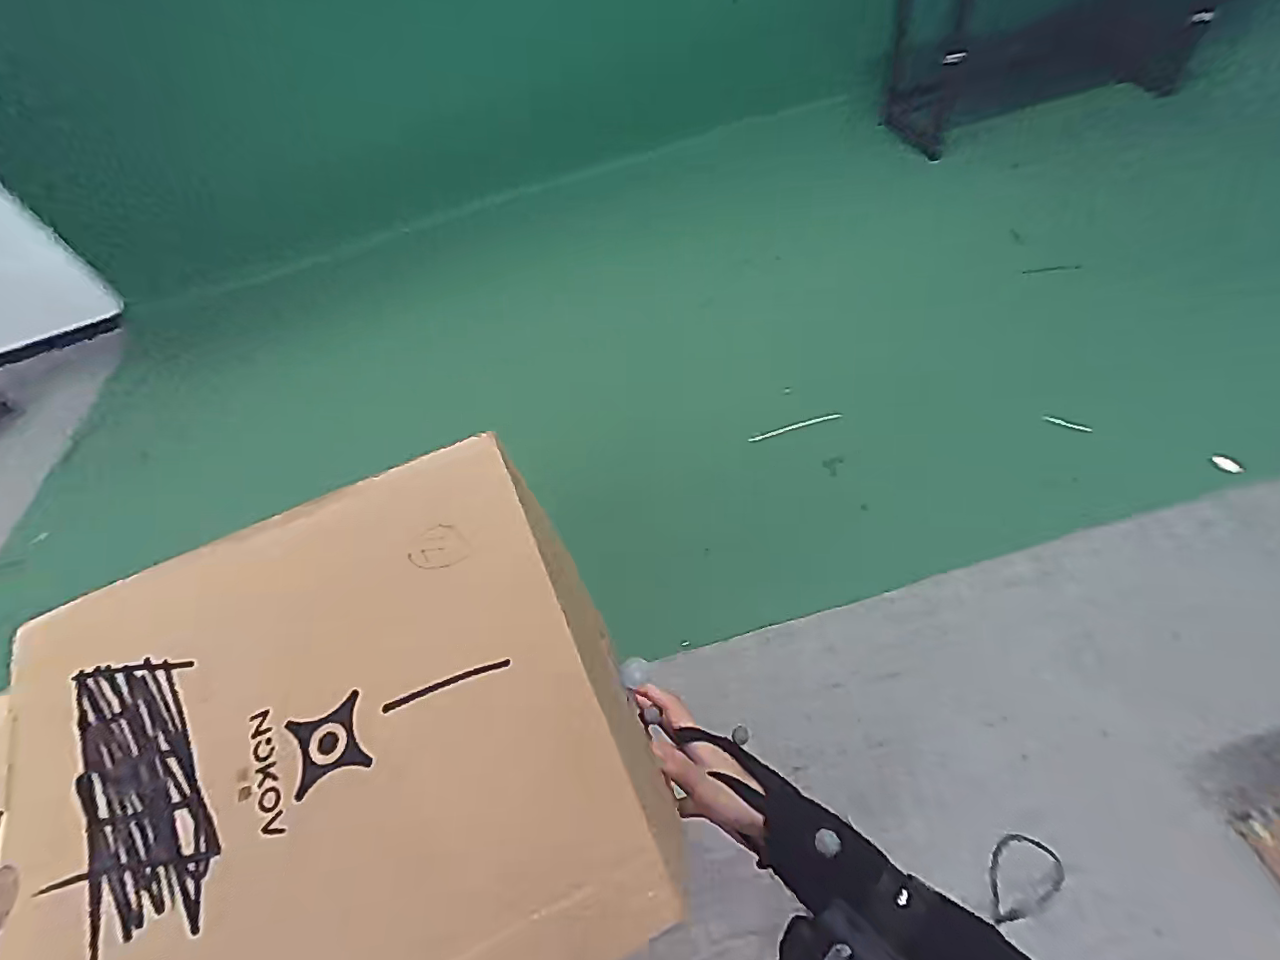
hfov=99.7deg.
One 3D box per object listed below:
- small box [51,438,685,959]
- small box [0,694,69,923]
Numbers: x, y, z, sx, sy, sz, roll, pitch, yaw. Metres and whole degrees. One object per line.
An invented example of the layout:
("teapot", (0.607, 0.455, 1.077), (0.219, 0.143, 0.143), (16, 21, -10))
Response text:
("small box", (-0.089, 0.117, 0.243), (0.179, 0.176, 0.168), (-24, 64, -7))
("small box", (-0.597, 0.343, 0.565), (0.179, 0.176, 0.168), (-18, 53, 2))
